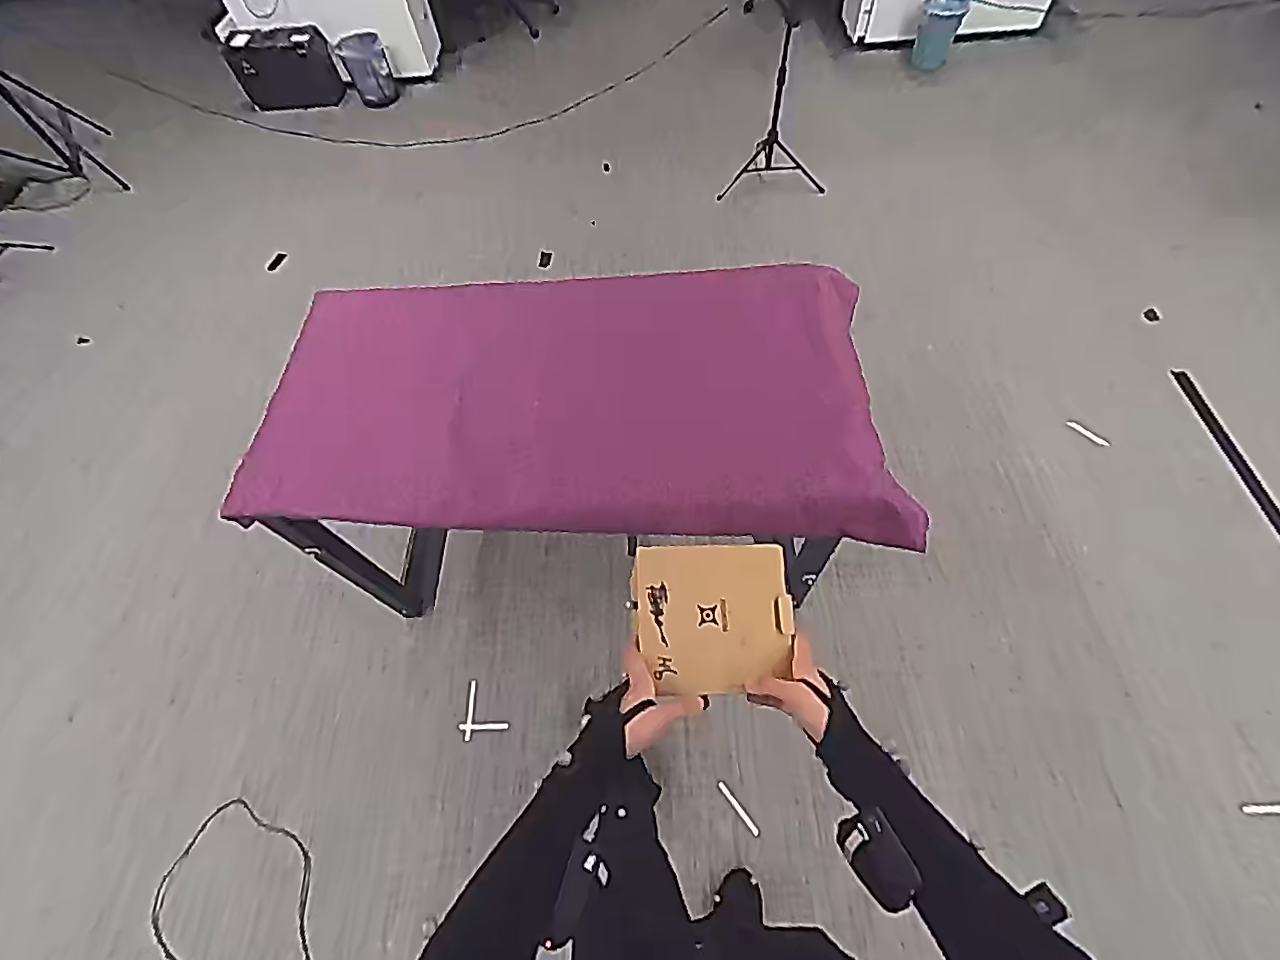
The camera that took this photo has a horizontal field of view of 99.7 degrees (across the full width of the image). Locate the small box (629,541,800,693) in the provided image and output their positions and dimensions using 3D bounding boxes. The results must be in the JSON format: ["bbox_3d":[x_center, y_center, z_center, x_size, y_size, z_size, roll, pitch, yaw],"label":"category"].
[{"bbox_3d":[0.079,0.176,0.676,0.179,0.176,0.168,0,68,-4],"label":"small box"}]
